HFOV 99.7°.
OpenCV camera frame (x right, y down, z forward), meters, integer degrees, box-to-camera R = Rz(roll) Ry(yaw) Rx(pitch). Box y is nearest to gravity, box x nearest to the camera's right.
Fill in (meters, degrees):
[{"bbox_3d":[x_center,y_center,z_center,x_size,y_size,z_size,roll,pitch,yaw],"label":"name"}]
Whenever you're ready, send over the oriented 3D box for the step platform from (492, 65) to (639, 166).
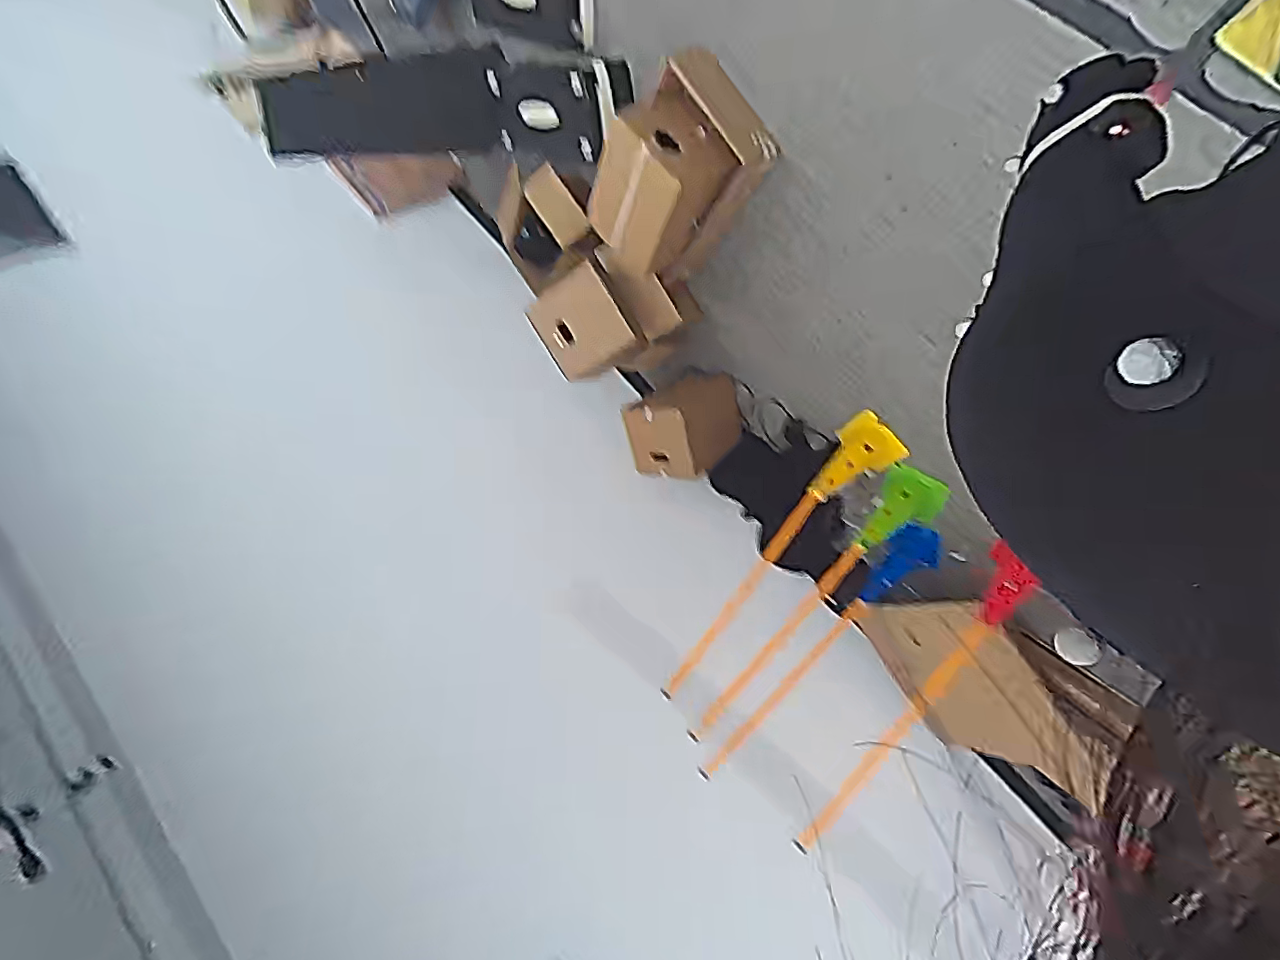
[{"bbox_3d":[-0.309,-1.423,2.114,0.684,0.204,0.286,31,145,36],"label":"step platform"}]
